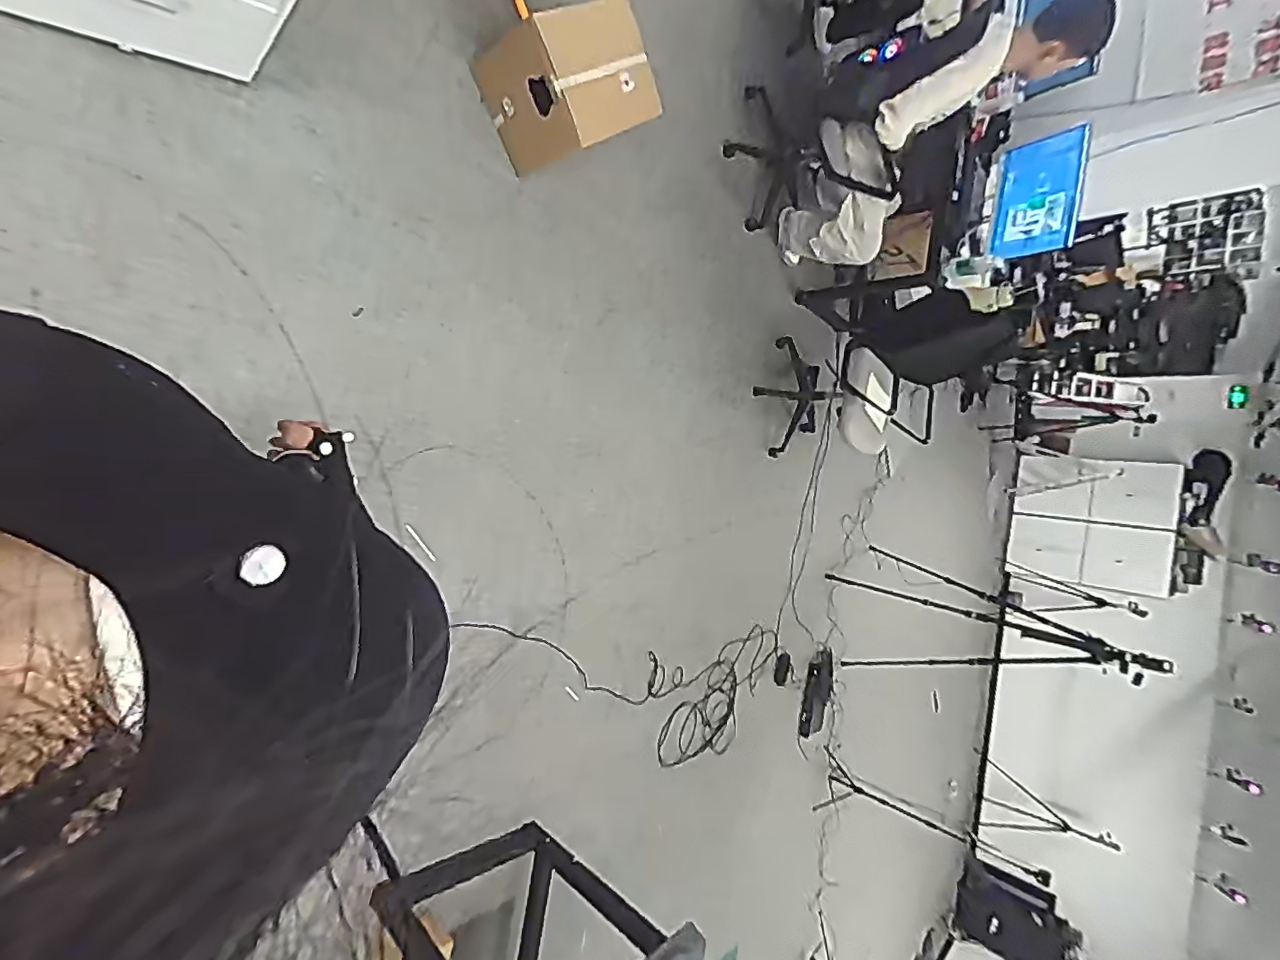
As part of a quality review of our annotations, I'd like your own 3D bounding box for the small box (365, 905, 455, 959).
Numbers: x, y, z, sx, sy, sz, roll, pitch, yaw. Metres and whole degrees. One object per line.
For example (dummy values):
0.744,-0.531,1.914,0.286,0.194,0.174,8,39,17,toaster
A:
-0.679,1.387,1.581,0.168,0.176,0.179,28,73,-44,small box
